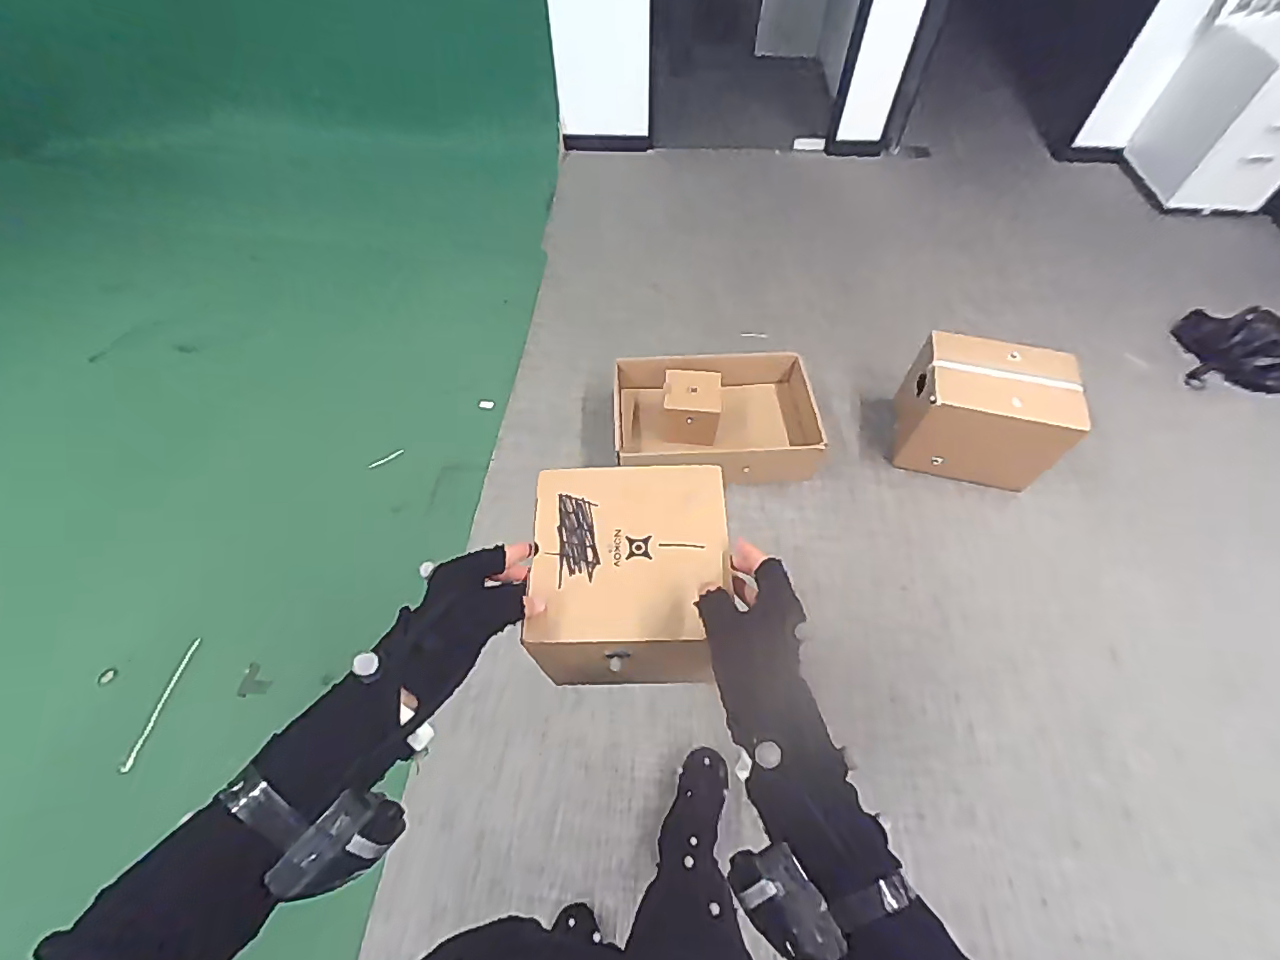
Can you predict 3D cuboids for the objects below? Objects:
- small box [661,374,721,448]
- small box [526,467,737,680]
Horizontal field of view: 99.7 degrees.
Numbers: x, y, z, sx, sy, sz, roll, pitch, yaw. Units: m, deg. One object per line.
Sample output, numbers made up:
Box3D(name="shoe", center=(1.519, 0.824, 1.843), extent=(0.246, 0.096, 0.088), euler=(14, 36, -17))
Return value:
Box3D(name="small box", center=(0.160, -0.218, 1.726), extent=(0.179, 0.176, 0.168), euler=(5, 56, 0))
Box3D(name="small box", center=(-0.004, 0.101, 0.547), extent=(0.179, 0.176, 0.168), euler=(-1, 59, 1))
